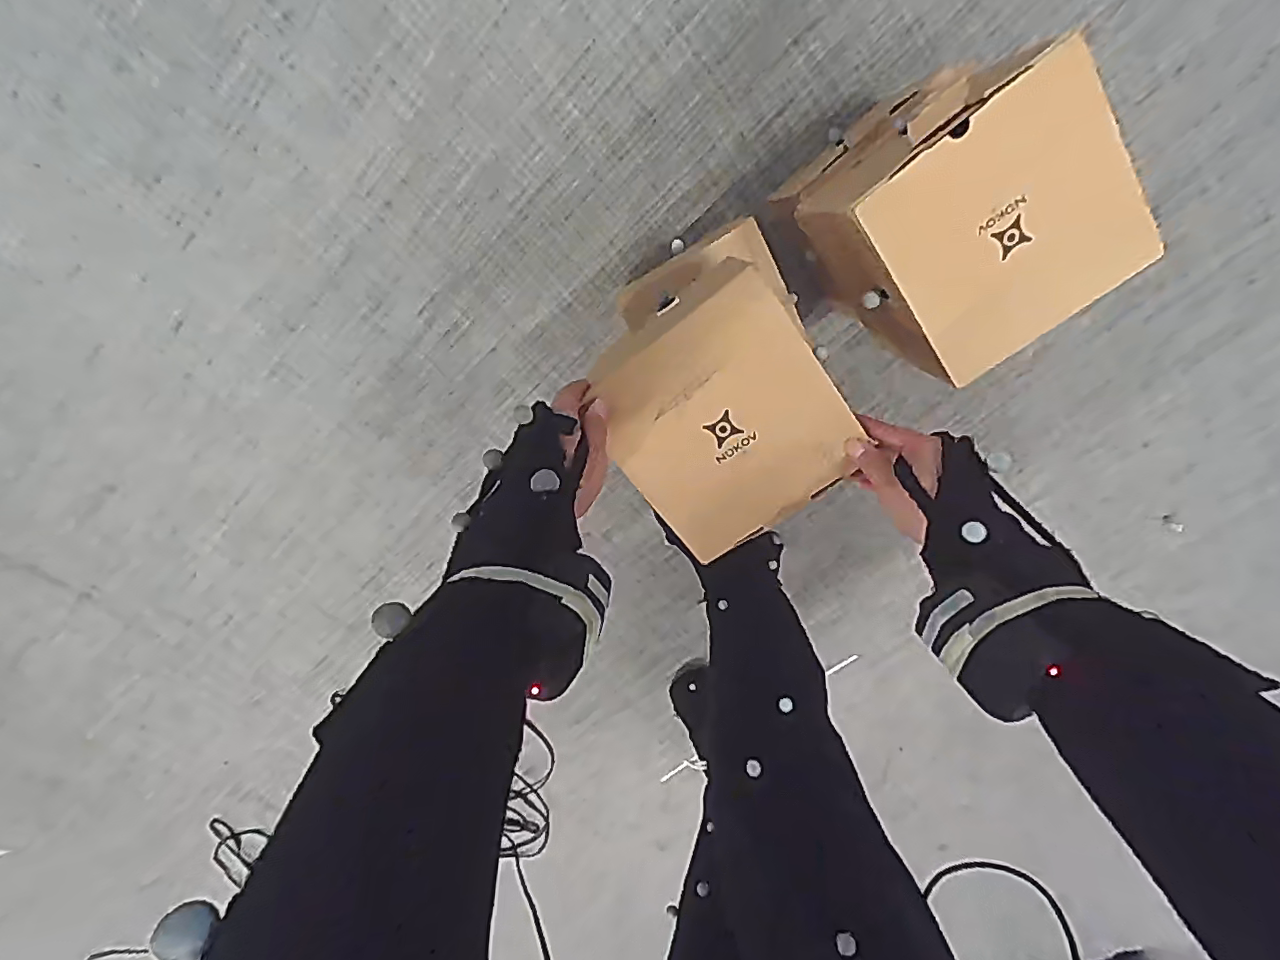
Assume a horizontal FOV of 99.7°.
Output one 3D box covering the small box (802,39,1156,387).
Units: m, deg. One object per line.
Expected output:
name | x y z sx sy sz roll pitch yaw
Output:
small box | 0.268 -0.215 0.467 0.168 0.176 0.179 -36 109 16

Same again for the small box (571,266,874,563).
small box | 0.066 -0.068 0.477 0.168 0.176 0.179 -36 108 15

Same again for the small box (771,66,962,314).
small box | 0.271 -0.300 0.607 0.168 0.176 0.179 -36 109 15
